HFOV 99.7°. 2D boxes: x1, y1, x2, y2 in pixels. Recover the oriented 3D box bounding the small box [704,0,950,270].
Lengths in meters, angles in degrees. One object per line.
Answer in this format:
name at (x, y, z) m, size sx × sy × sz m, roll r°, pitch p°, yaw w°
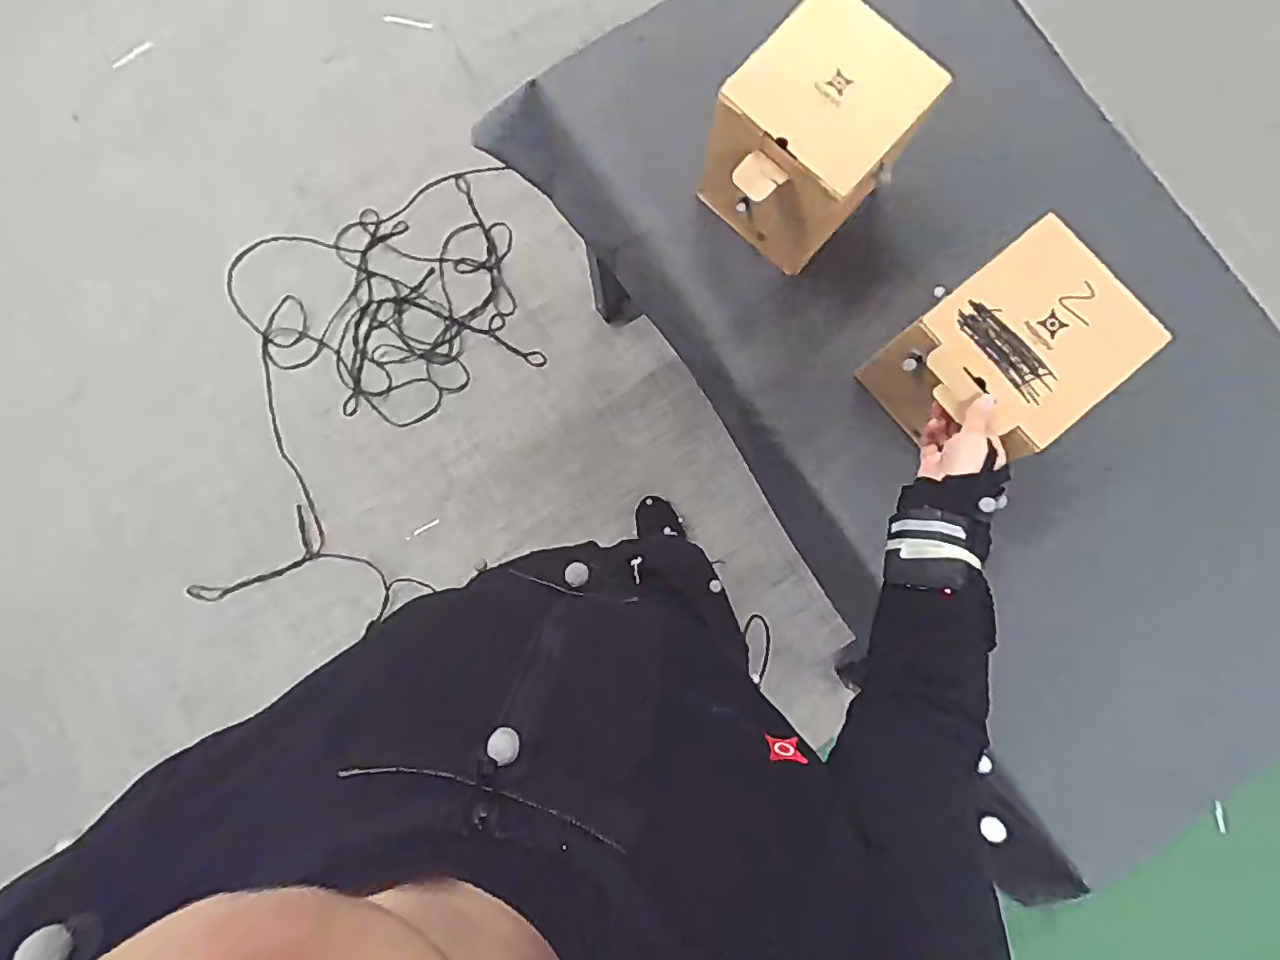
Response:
small box at (0.192, -0.383, 0.614) m, size 0.168 × 0.176 × 0.179 m, roll 41°, pitch 86°, yaw 2°
